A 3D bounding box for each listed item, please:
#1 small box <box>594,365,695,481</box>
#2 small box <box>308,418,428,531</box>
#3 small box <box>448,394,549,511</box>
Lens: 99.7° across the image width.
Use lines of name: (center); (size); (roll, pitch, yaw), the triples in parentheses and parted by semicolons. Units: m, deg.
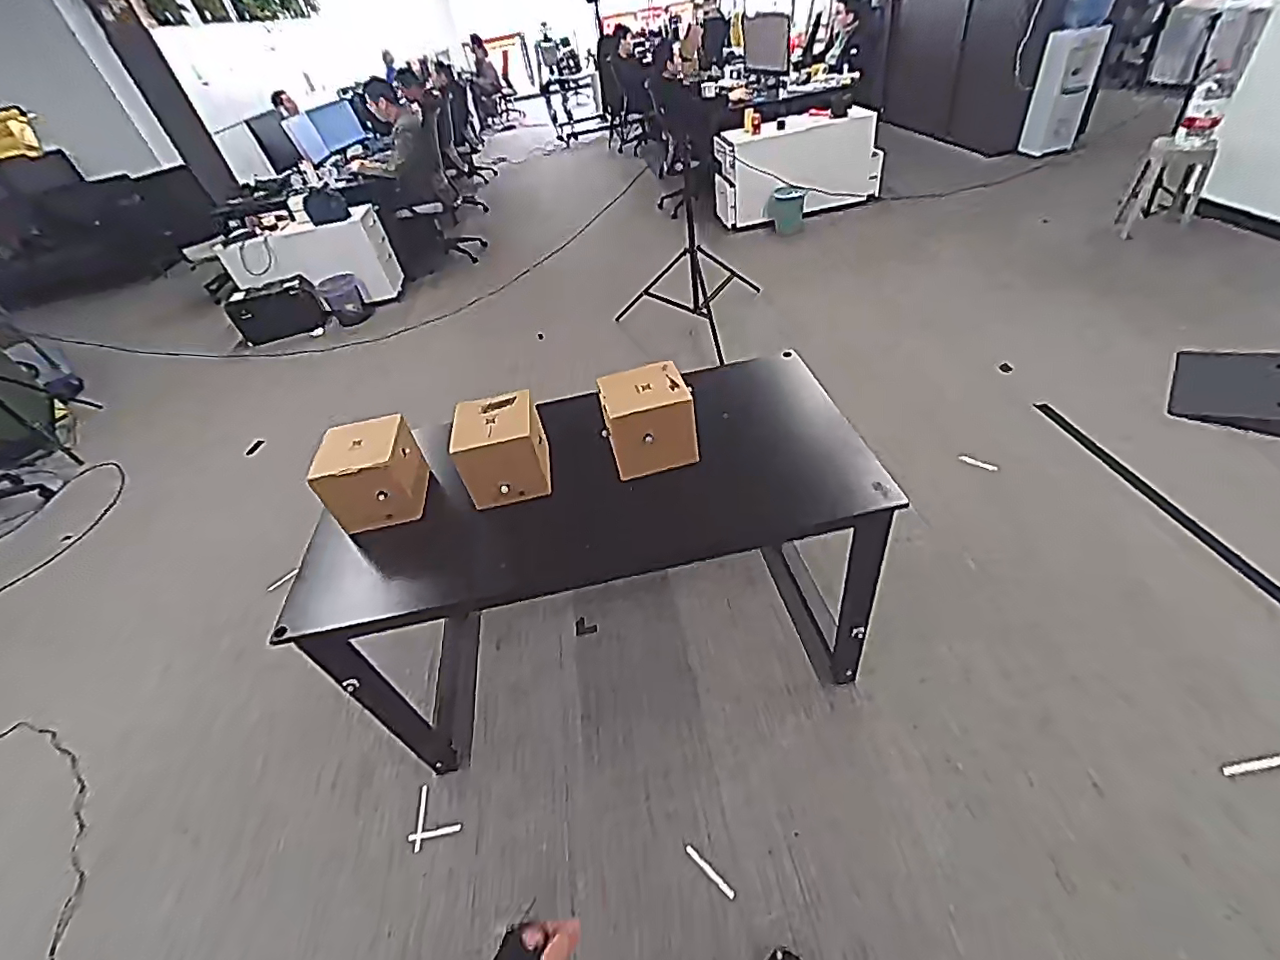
small box: (0.012, -0.122, 1.183); (0.179, 0.176, 0.168); (-15, 42, -4)
small box: (-0.583, -0.006, 1.185); (0.168, 0.176, 0.179); (-12, 41, -3)
small box: (-0.301, -0.060, 1.182); (0.168, 0.176, 0.179); (-13, 43, -1)
